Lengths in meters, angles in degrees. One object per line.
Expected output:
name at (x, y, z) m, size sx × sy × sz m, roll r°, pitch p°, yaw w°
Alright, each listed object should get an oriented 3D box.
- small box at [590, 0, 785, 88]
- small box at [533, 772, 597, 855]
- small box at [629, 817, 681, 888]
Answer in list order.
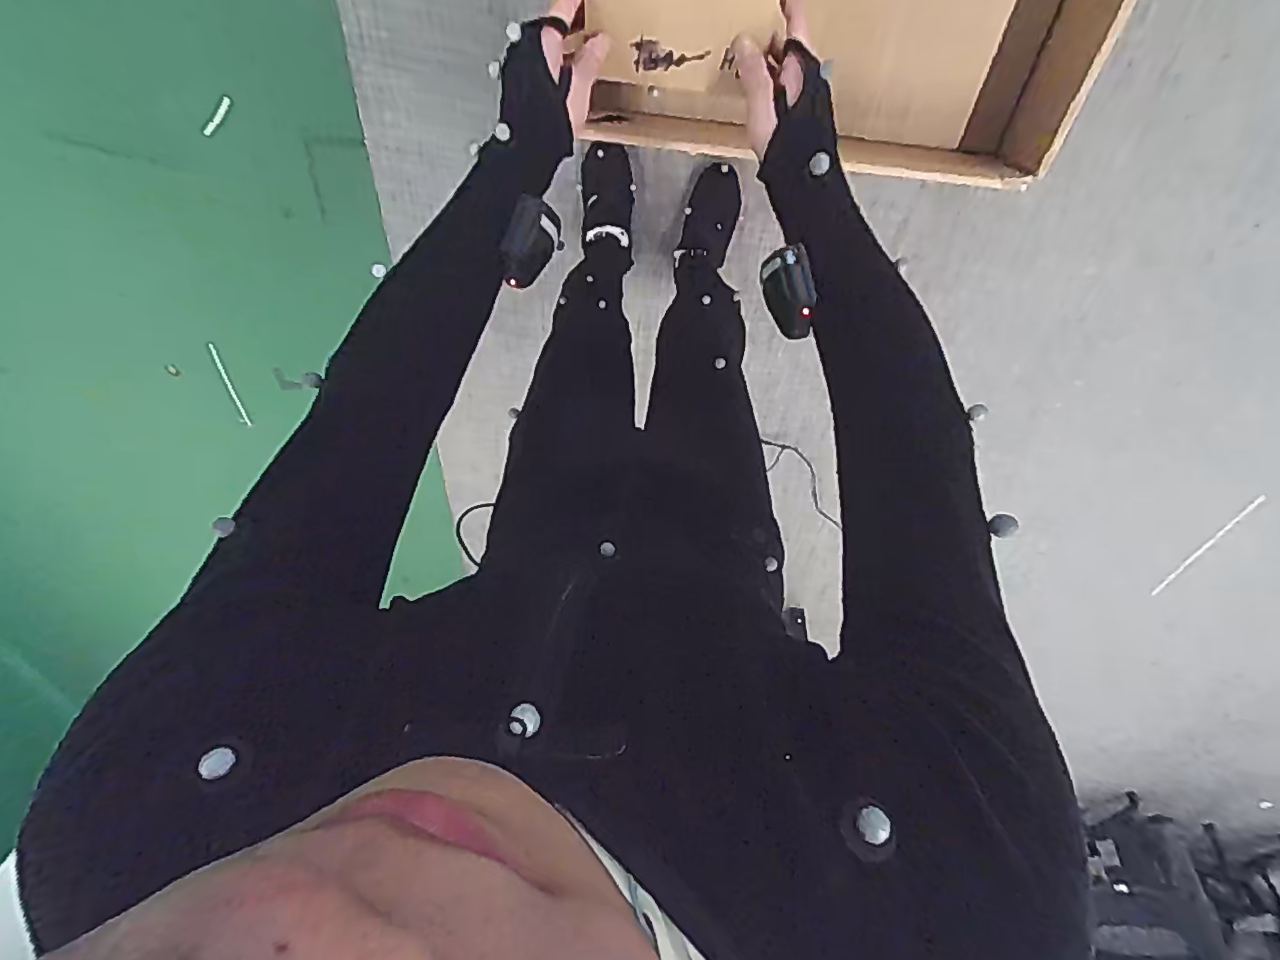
small box at (0.052, -0.489, 0.488) m, size 0.168 × 0.176 × 0.179 m, roll 9°, pitch 137°, yaw 1°
small box at (-0.227, 1.041, 1.691) m, size 0.168 × 0.176 × 0.179 m, roll 6°, pitch 132°, yaw 3°
small box at (0.053, 1.272, 1.856) m, size 0.168 × 0.176 × 0.179 m, roll 6°, pitch 132°, yaw 3°
